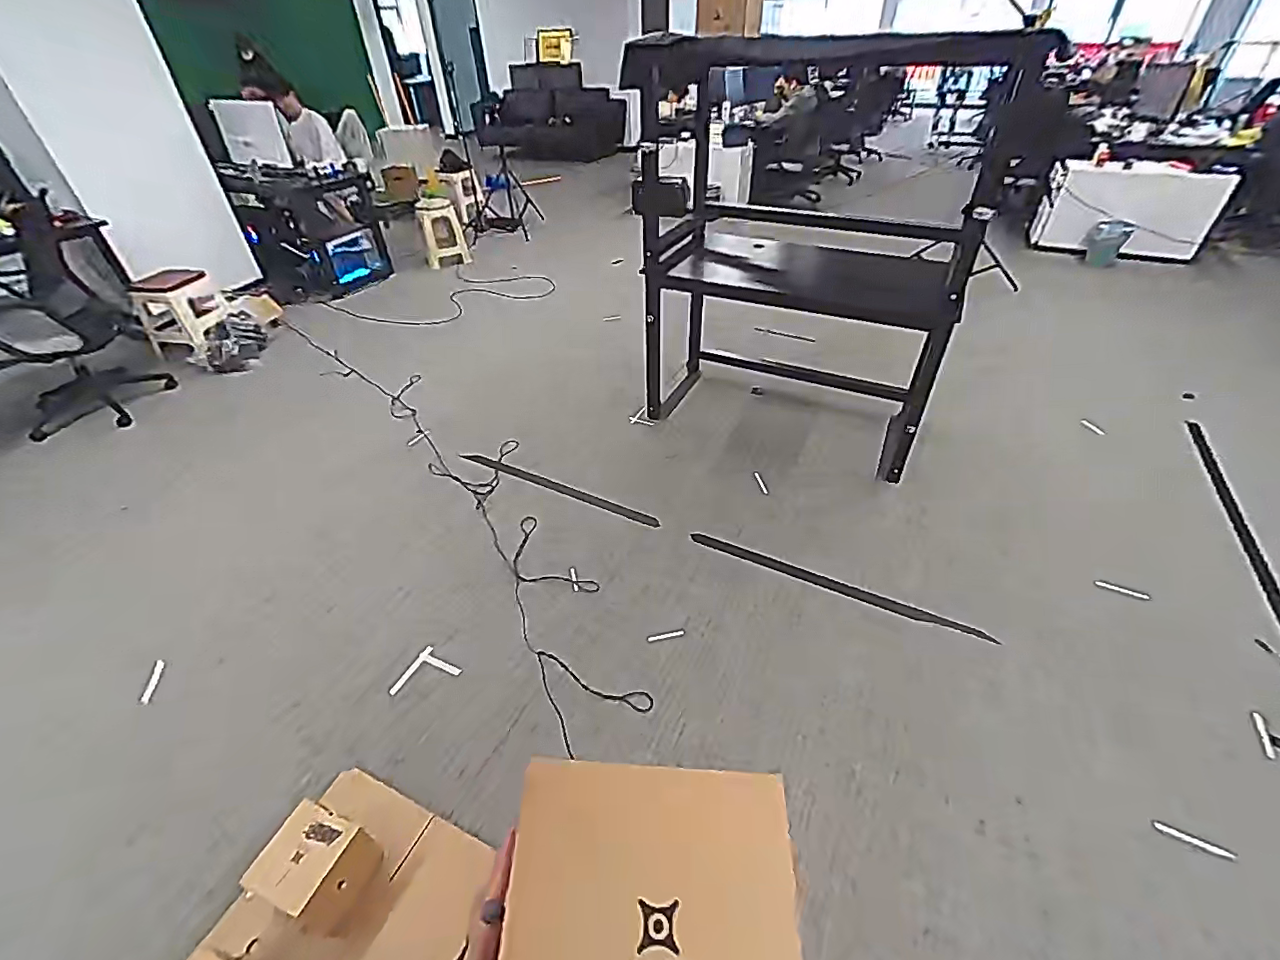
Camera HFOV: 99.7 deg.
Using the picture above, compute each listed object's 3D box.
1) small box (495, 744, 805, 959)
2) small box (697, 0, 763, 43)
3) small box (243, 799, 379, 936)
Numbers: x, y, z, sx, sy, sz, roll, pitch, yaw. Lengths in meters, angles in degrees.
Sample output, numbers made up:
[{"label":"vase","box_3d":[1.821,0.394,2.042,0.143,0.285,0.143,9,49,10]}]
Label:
[{"label":"small box","box_3d":[-0.005,0.289,0.349,0.168,0.176,0.179,6,51,-5]},{"label":"small box","box_3d":[0.285,-1.491,1.702,0.168,0.176,0.179,17,42,20]},{"label":"small box","box_3d":[-0.711,0.857,1.197,0.168,0.176,0.179,13,42,17]}]
